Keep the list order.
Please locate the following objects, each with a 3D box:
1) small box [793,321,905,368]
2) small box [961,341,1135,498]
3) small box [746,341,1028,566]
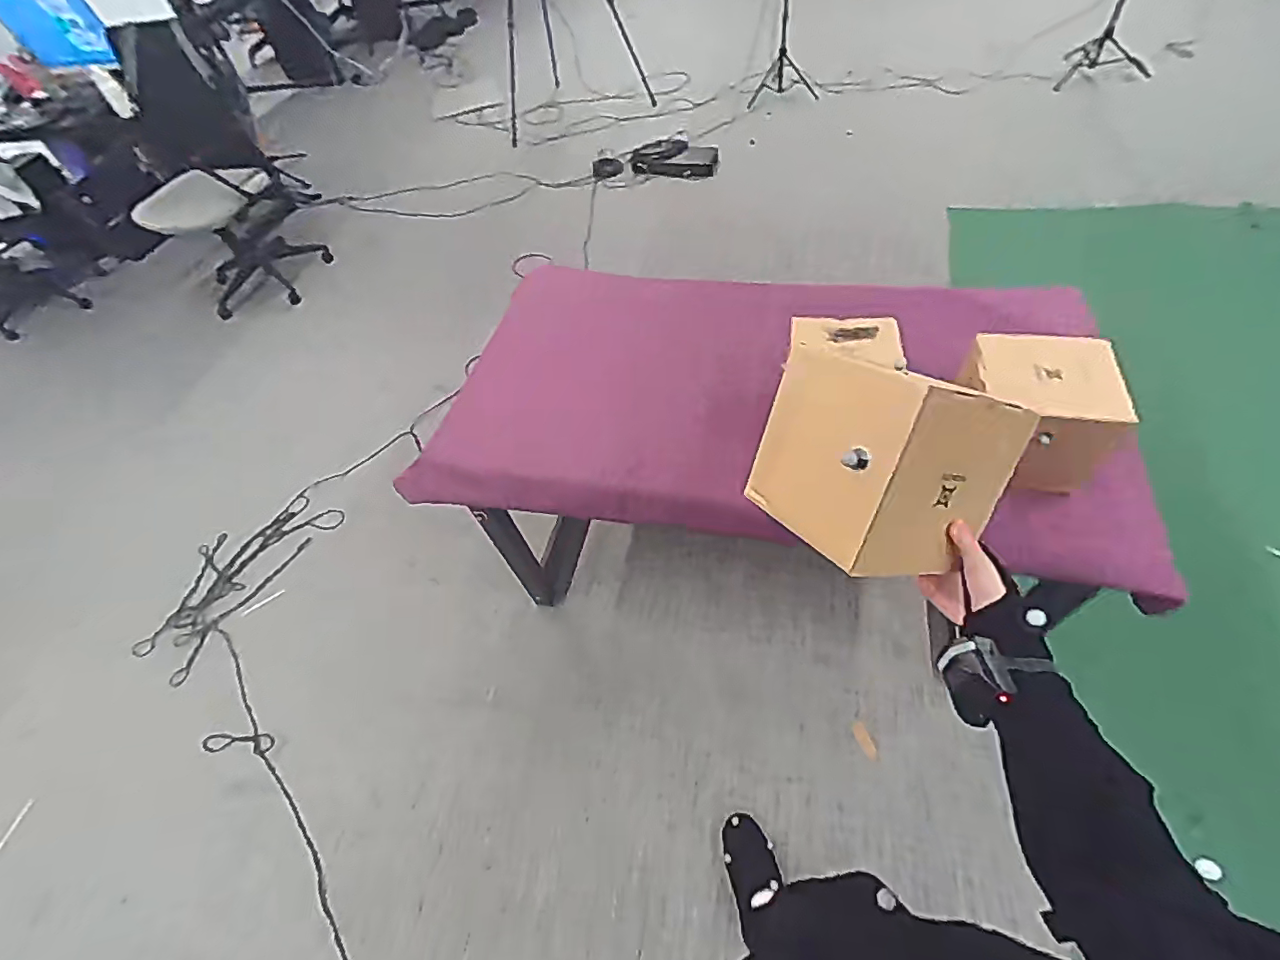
[{"bbox_3d":[0.331,-0.141,0.901,0.168,0.176,0.179,4,55,12],"label":"small box"},{"bbox_3d":[0.587,-0.089,0.824,0.179,0.176,0.168,9,54,15],"label":"small box"},{"bbox_3d":[0.233,-0.030,0.554,0.168,0.179,0.176,5,20,-28],"label":"small box"}]
